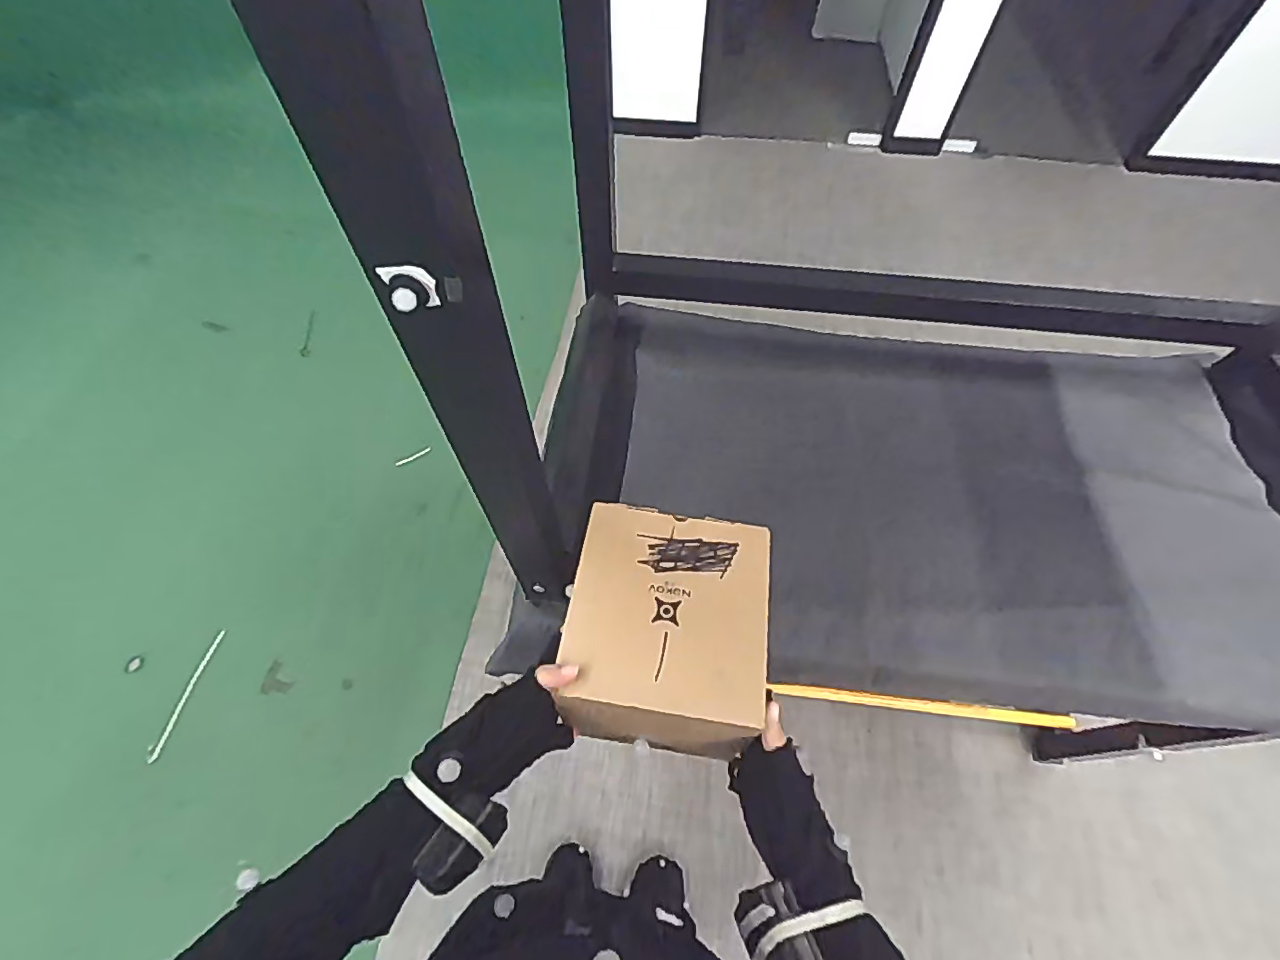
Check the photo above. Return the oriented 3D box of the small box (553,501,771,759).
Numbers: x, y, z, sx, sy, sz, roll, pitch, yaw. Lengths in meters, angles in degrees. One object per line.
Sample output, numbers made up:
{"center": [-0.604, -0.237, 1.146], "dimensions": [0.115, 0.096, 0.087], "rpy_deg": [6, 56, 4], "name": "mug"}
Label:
{"center": [0.023, 0.147, 0.517], "dimensions": [0.168, 0.176, 0.179], "rpy_deg": [8, 55, 4], "name": "small box"}
